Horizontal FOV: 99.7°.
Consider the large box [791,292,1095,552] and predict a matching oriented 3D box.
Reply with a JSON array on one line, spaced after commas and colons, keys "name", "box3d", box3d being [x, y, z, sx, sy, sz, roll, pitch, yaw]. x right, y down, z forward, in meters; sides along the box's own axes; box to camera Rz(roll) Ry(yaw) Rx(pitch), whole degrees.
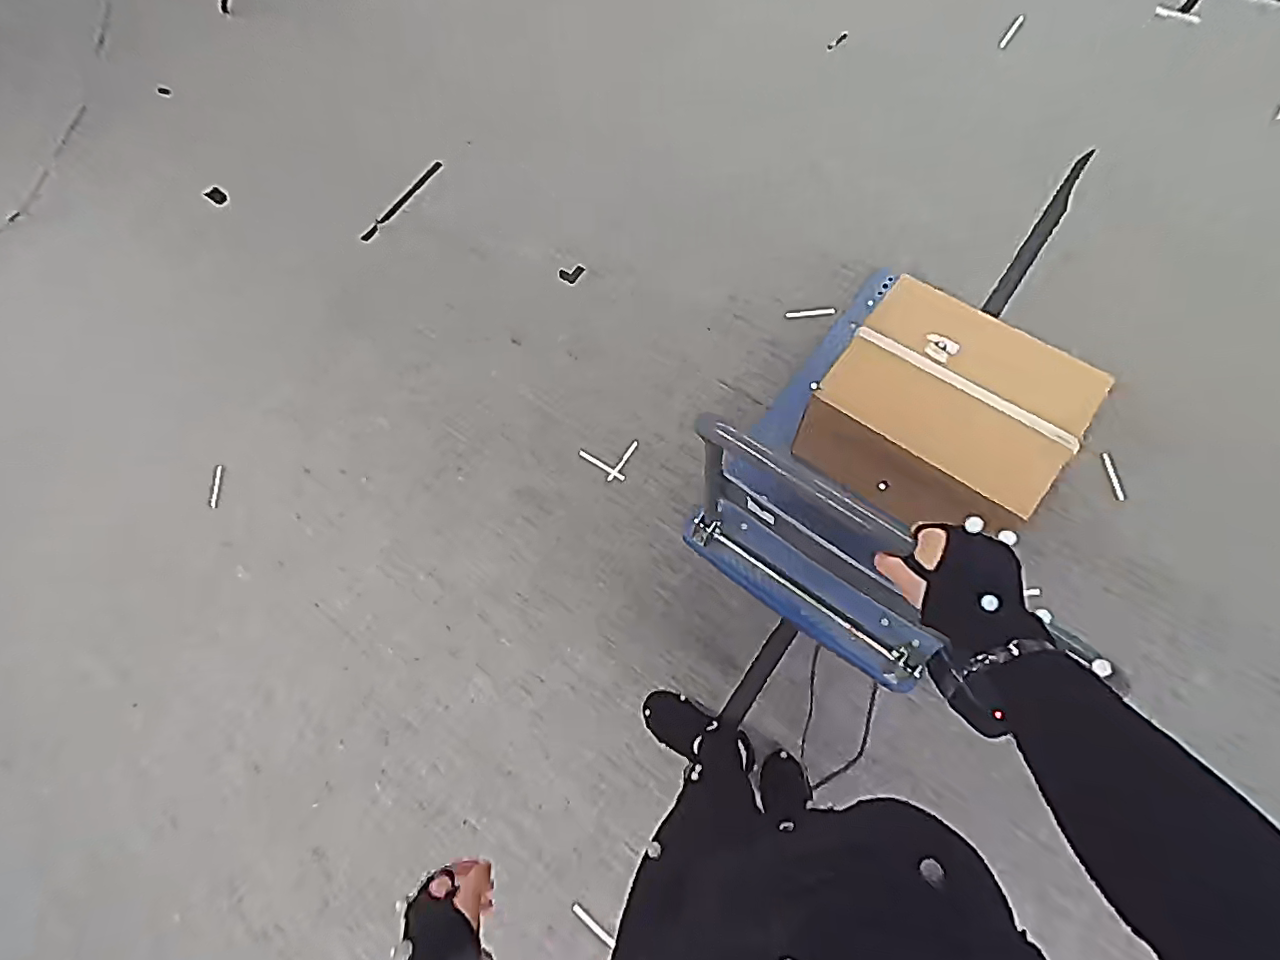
[{"name": "large box", "box3d": [0.582, -0.104, 1.125, 0.408, 0.320, 0.320, 35, 79, 18]}]
